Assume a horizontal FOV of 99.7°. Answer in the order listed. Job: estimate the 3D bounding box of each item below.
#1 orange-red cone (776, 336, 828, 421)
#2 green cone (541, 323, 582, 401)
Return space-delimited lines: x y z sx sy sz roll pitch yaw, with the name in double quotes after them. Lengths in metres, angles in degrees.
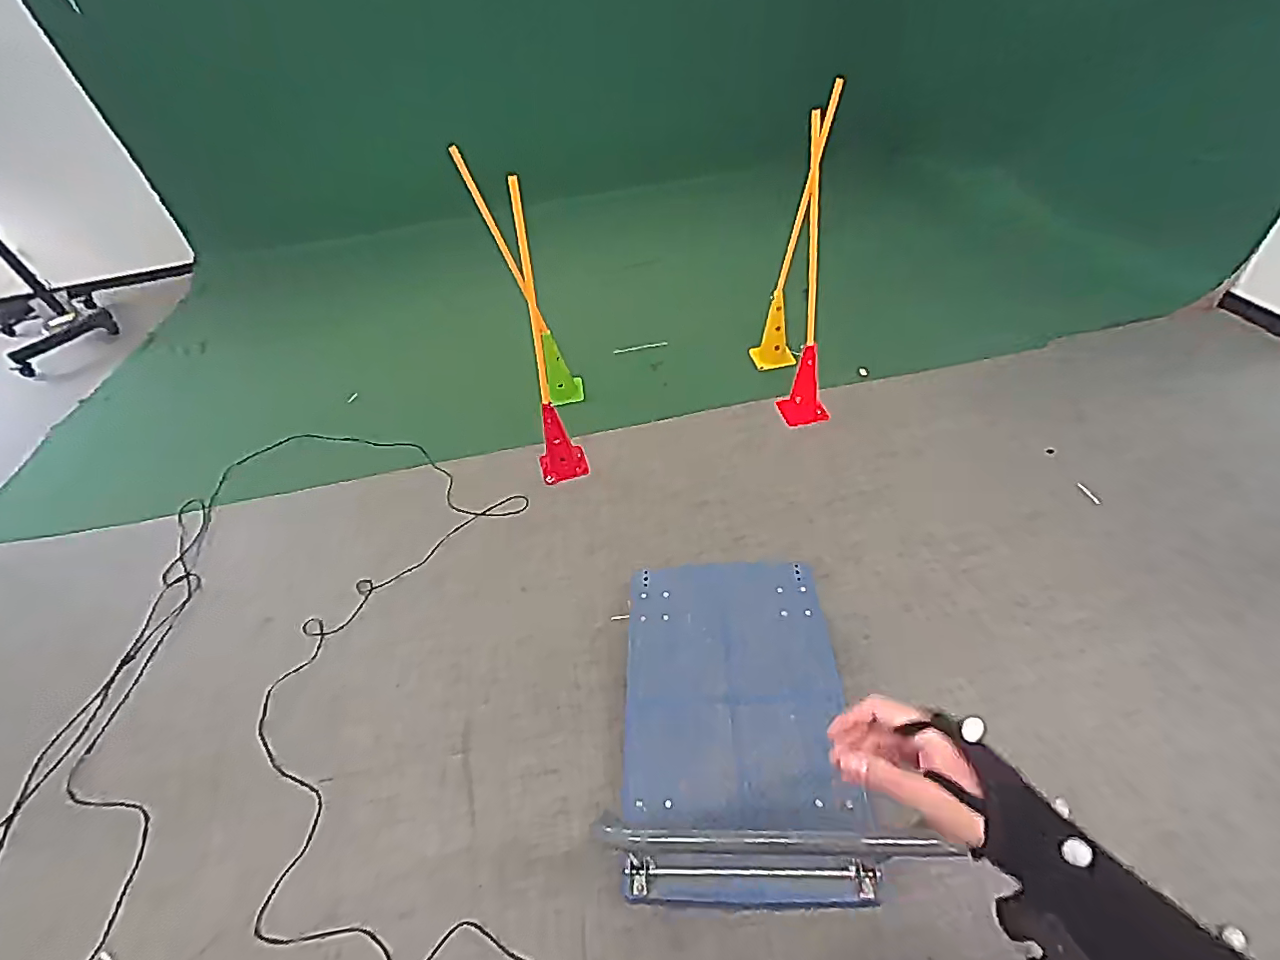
0.723 -0.463 2.358 0.198 0.360 0.199 -10 44 -2 "orange-red cone"
-0.420 -0.601 2.659 0.200 0.368 0.202 -11 45 -1 "green cone"
